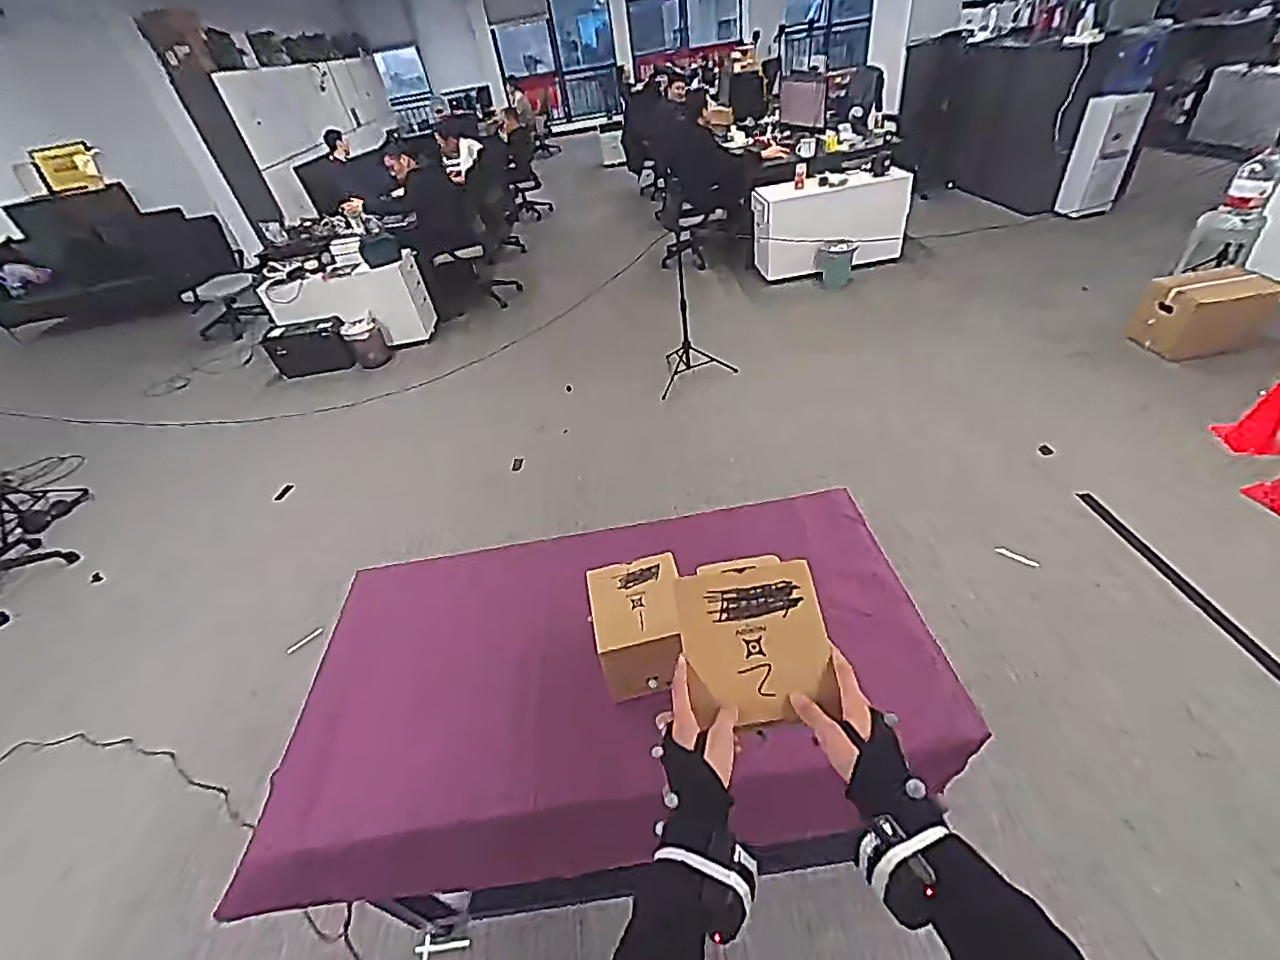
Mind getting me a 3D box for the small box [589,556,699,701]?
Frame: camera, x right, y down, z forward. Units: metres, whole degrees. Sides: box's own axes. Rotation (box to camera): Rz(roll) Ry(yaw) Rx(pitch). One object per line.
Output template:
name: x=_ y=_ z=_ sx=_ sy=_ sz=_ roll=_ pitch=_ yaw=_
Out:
small box: x=0.007 y=0.274 z=1.002 sx=0.168 sy=0.176 sz=0.179 roll=-13 pitch=40 yaw=-3
